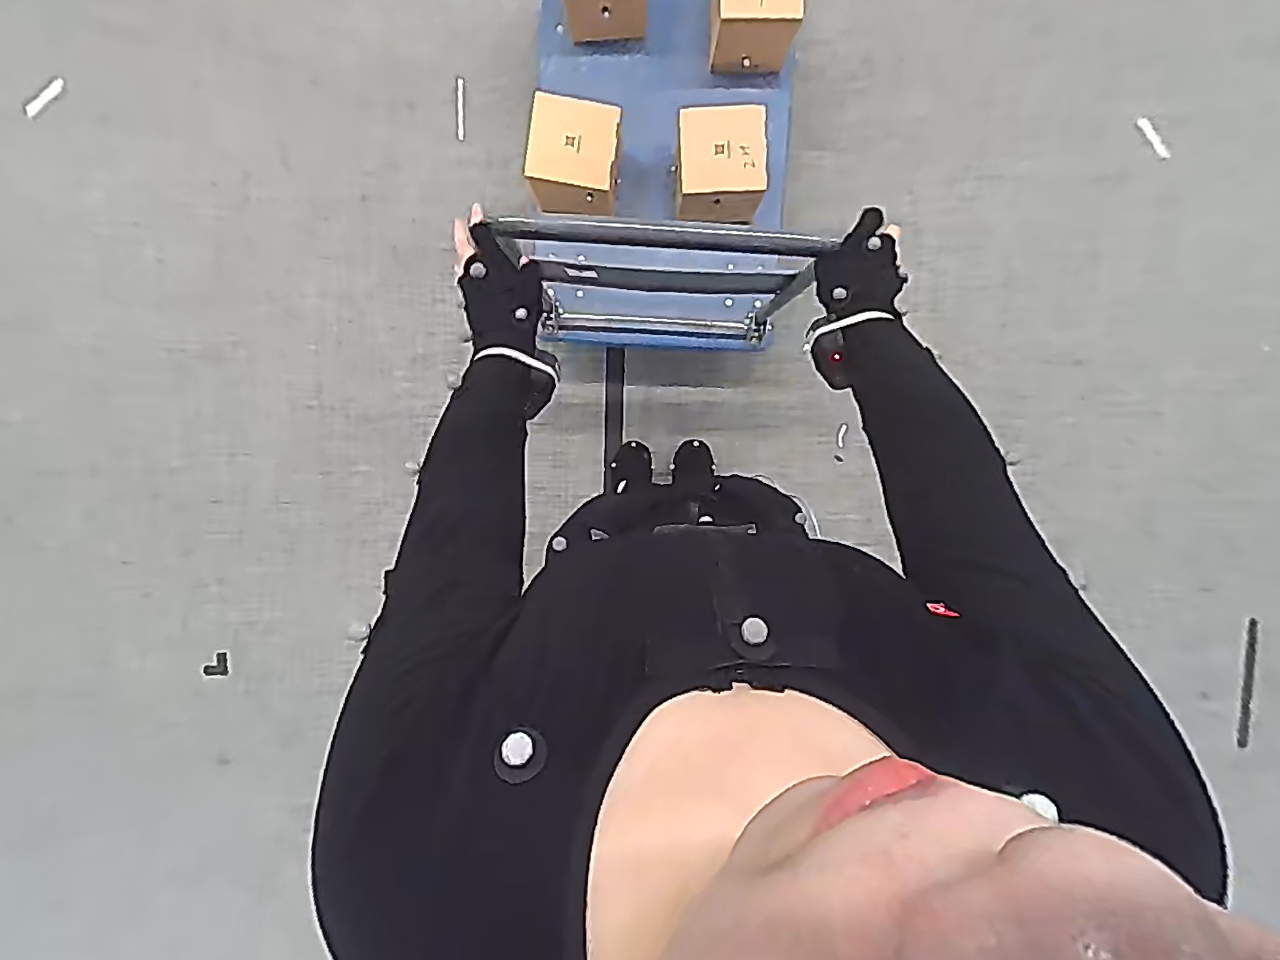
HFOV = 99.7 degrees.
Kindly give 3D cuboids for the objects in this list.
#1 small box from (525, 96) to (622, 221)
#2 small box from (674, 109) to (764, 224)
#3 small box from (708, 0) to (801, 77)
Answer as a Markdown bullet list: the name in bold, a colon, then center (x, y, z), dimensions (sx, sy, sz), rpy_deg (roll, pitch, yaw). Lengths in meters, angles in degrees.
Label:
- **small box**: center (-0.138, -0.686, 1.173), dimensions (0.179, 0.176, 0.168), rpy_deg (9, 95, -3)
- **small box**: center (0.165, -0.671, 1.176), dimensions (0.179, 0.176, 0.168), rpy_deg (-2, 96, 0)
- **small box**: center (0.237, -1.002, 1.144), dimensions (0.168, 0.176, 0.179), rpy_deg (0, 97, 0)
